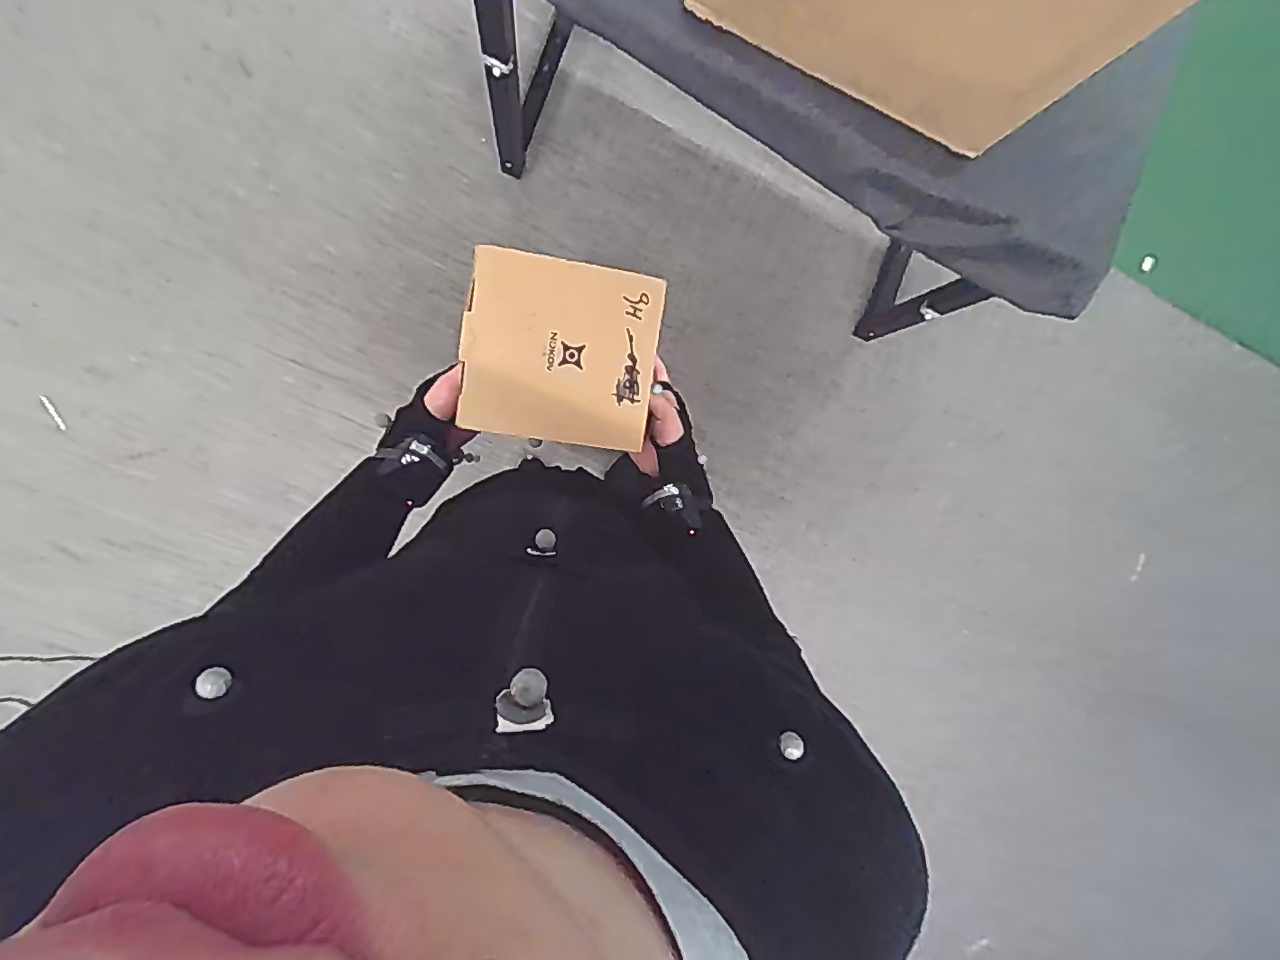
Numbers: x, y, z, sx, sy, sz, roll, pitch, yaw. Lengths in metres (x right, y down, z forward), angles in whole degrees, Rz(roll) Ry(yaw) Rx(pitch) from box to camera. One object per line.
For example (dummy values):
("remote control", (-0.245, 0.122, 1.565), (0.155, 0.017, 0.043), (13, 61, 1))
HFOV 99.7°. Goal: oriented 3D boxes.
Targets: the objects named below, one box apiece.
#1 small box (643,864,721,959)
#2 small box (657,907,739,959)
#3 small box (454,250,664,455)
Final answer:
("small box", (0.118, 1.302, 1.613), (0.168, 0.176, 0.179), (18, 89, -13))
("small box", (0.155, 1.307, 1.452), (0.168, 0.176, 0.179), (18, 90, -13))
("small box", (-0.086, -0.125, 0.583), (0.179, 0.176, 0.168), (8, 97, -10))
